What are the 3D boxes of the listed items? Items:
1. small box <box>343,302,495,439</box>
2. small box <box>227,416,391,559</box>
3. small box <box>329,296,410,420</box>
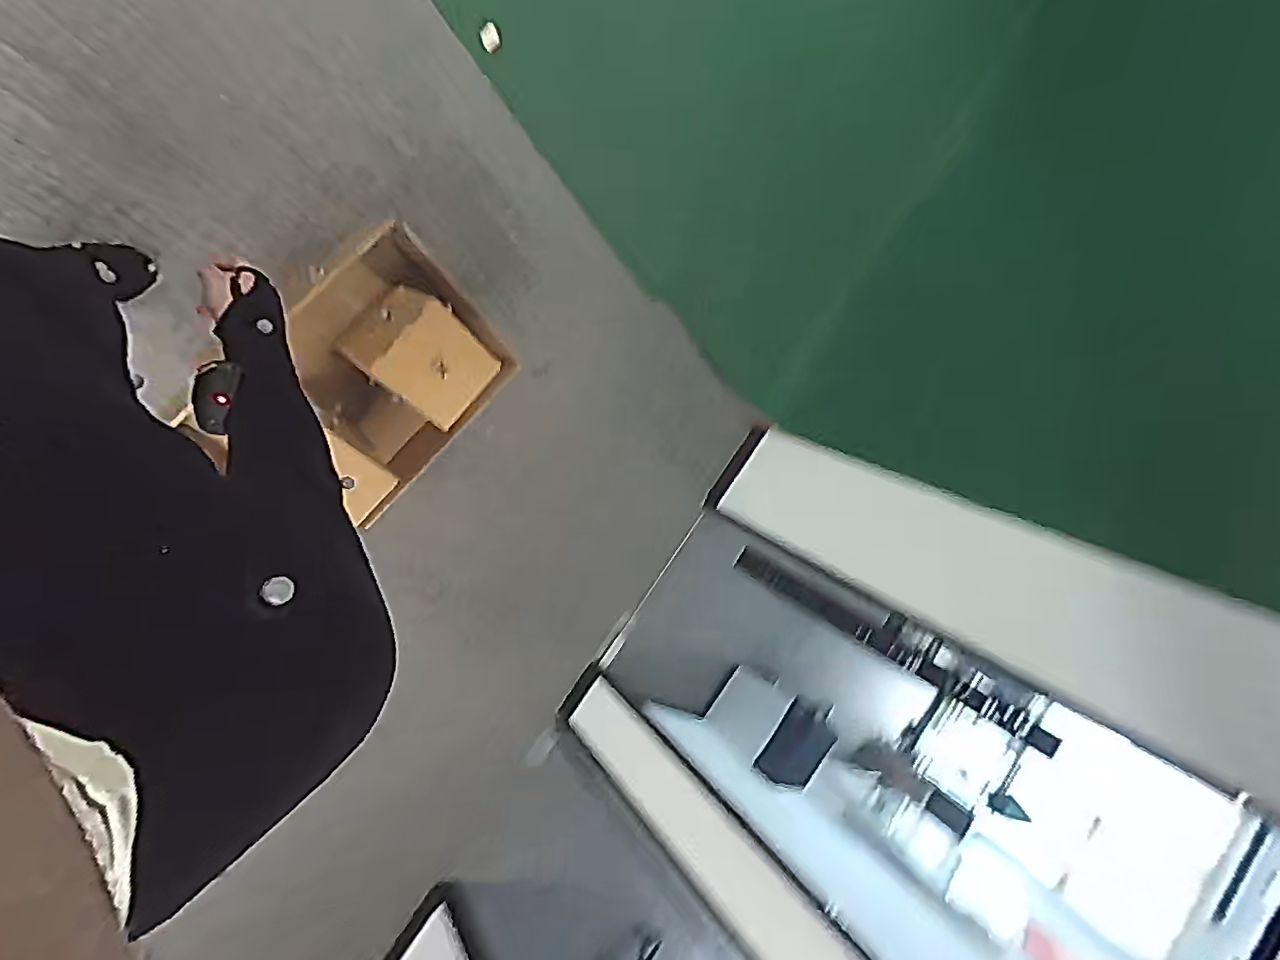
[{"bbox_3d":[-0.416,-0.211,1.017,0.168,0.176,0.179,-51,135,-9],"label":"small box"},{"bbox_3d":[-0.593,0.004,0.965,0.168,0.176,0.179,-49,136,-11],"label":"small box"},{"bbox_3d":[-0.517,-0.261,1.137,0.179,0.176,0.168,-50,136,-9],"label":"small box"}]
